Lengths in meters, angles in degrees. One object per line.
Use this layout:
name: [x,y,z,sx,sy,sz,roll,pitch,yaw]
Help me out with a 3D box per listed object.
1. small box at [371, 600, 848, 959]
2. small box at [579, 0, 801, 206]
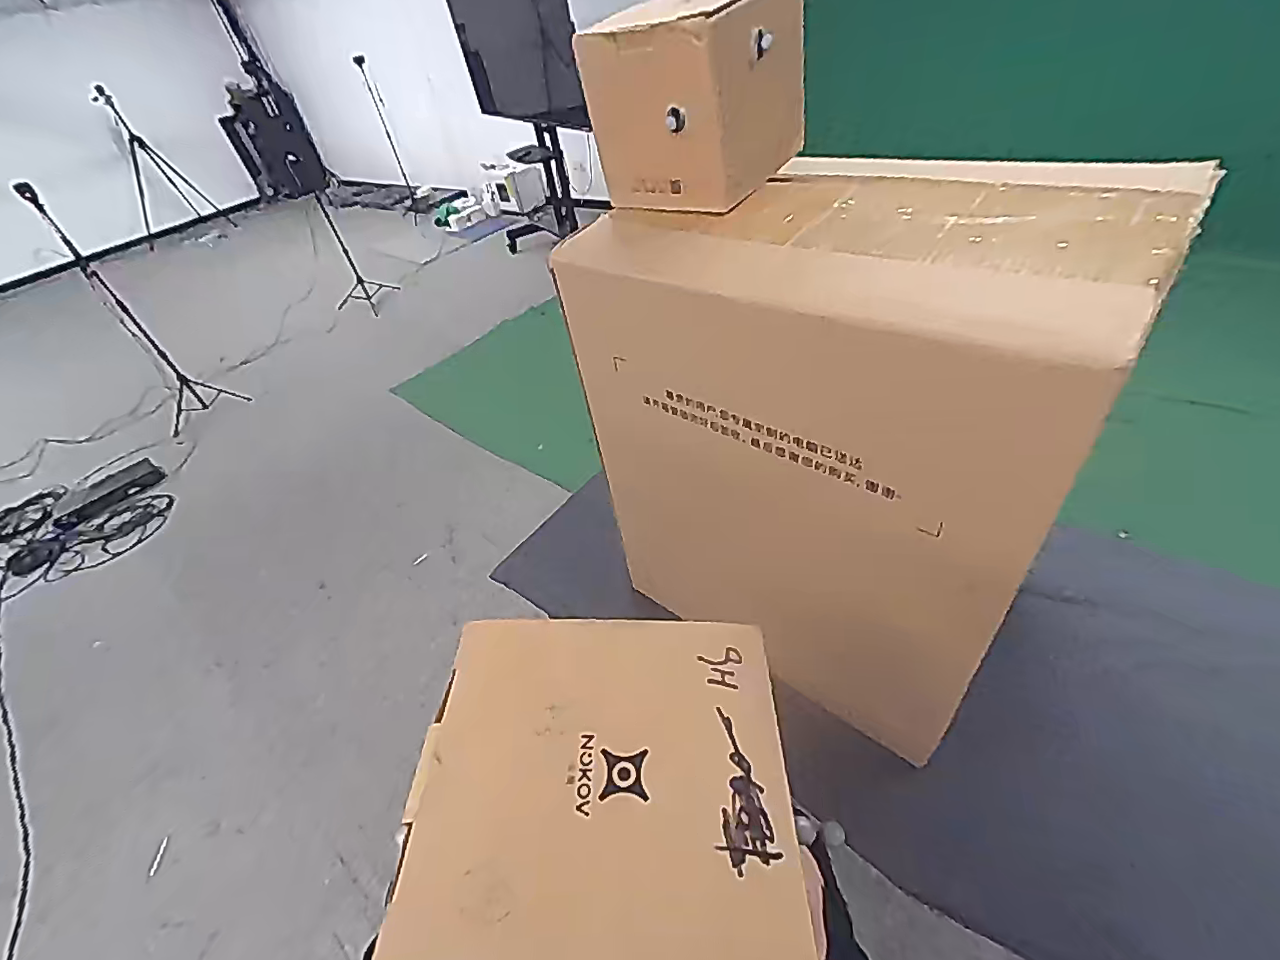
small box: [-0.011,0.185,0.302,0.179,0.176,0.168,1,43,-1]
small box: [0.066,-0.417,0.590,0.168,0.176,0.179,23,55,32]
